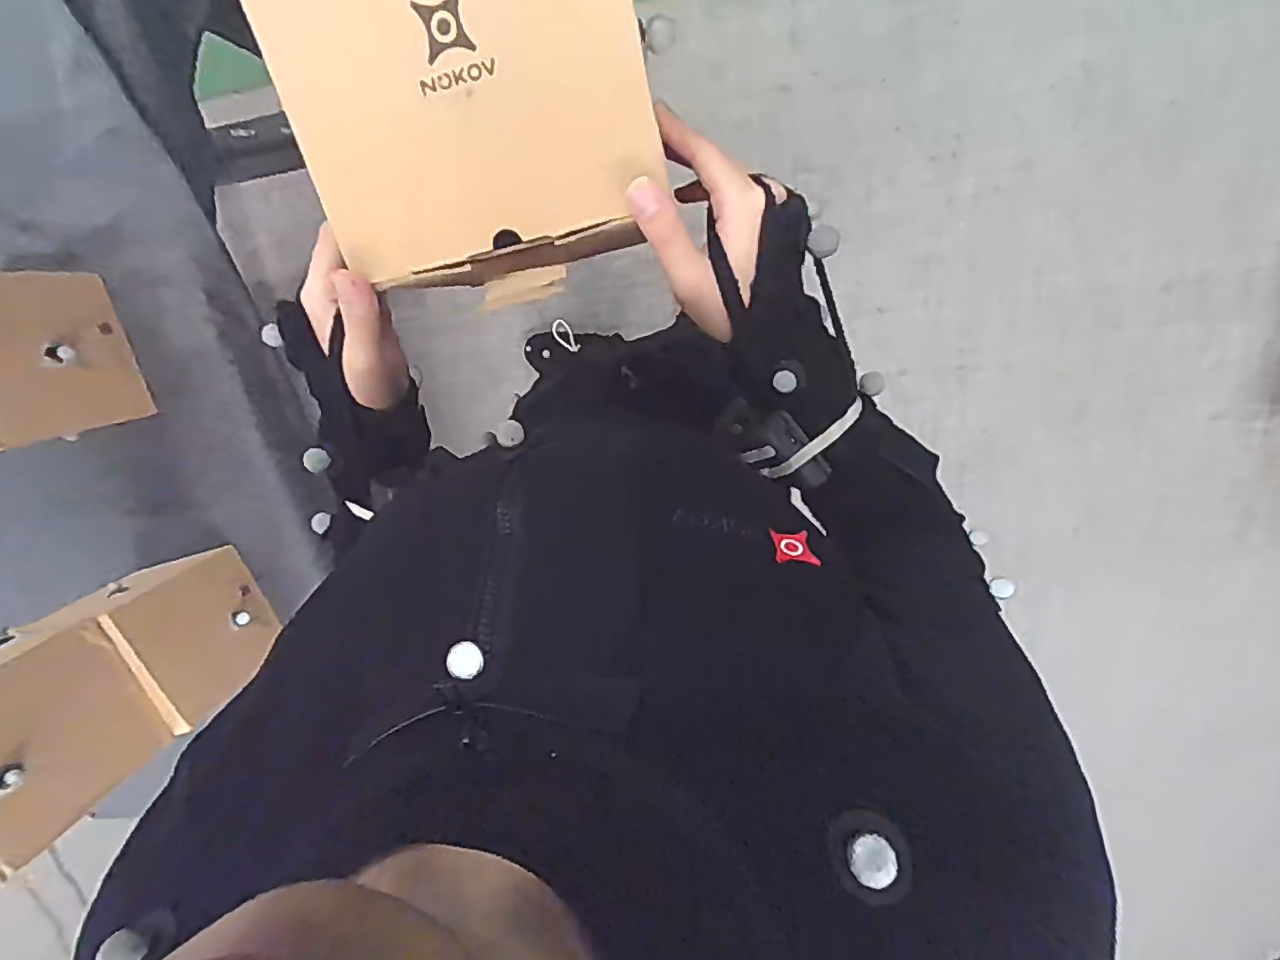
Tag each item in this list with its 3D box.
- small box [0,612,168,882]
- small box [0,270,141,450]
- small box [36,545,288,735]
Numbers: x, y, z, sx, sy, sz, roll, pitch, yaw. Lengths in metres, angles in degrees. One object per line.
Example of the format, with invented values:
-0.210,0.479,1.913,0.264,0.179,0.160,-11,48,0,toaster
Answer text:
-0.637,0.258,0.535,0.168,0.176,0.179,-12,108,9,small box
-0.693,-0.126,0.572,0.179,0.176,0.168,-5,110,8,small box
-0.604,0.204,0.685,0.179,0.176,0.168,-16,108,11,small box
